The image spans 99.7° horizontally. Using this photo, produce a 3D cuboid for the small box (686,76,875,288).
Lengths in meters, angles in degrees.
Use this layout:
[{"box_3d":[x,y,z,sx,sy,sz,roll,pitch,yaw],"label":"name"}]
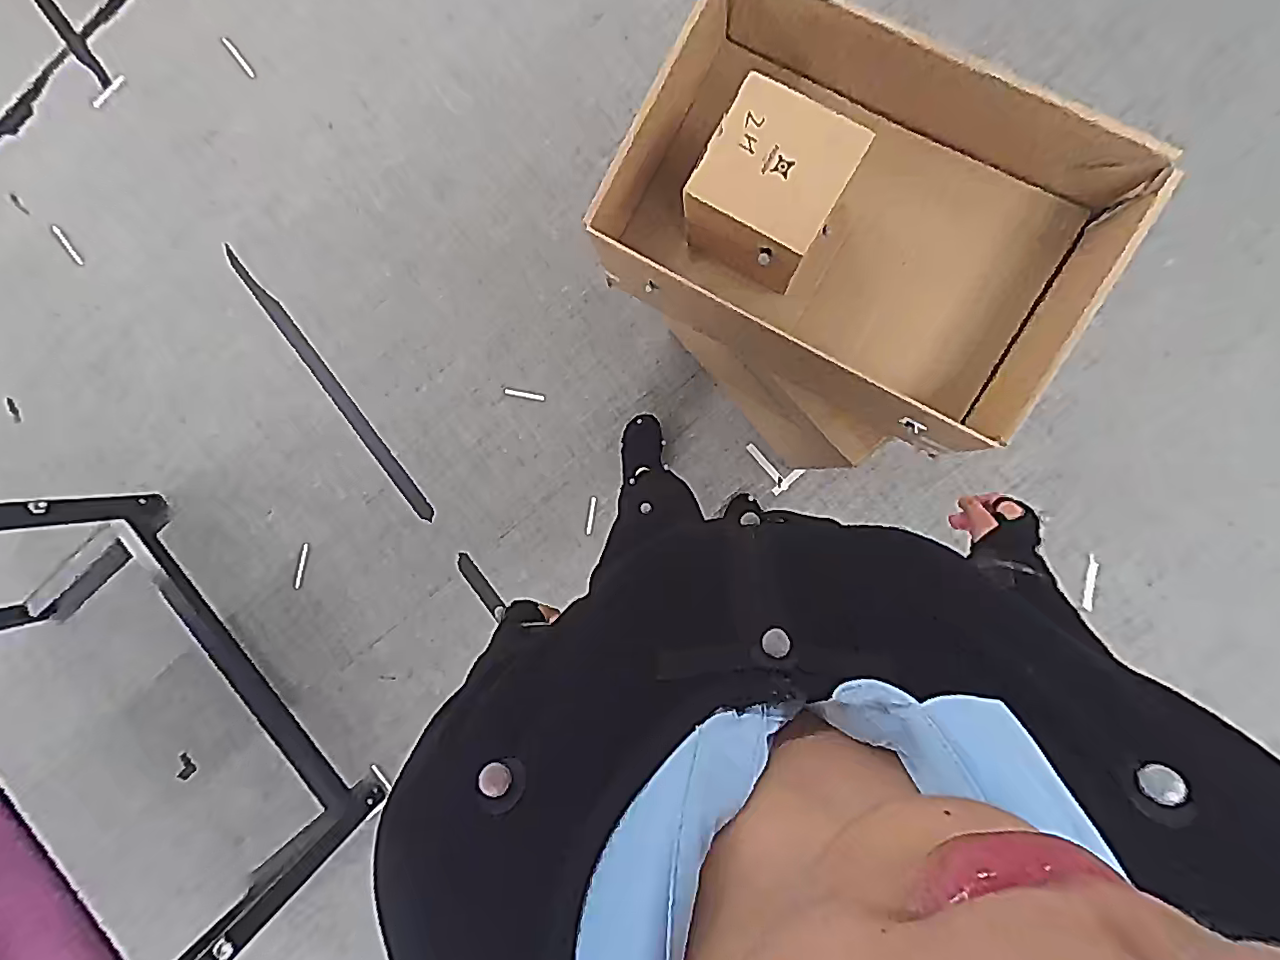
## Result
[{"box_3d":[0.180,-0.388,0.743,0.179,0.176,0.168,31,95,5],"label":"small box"}]
